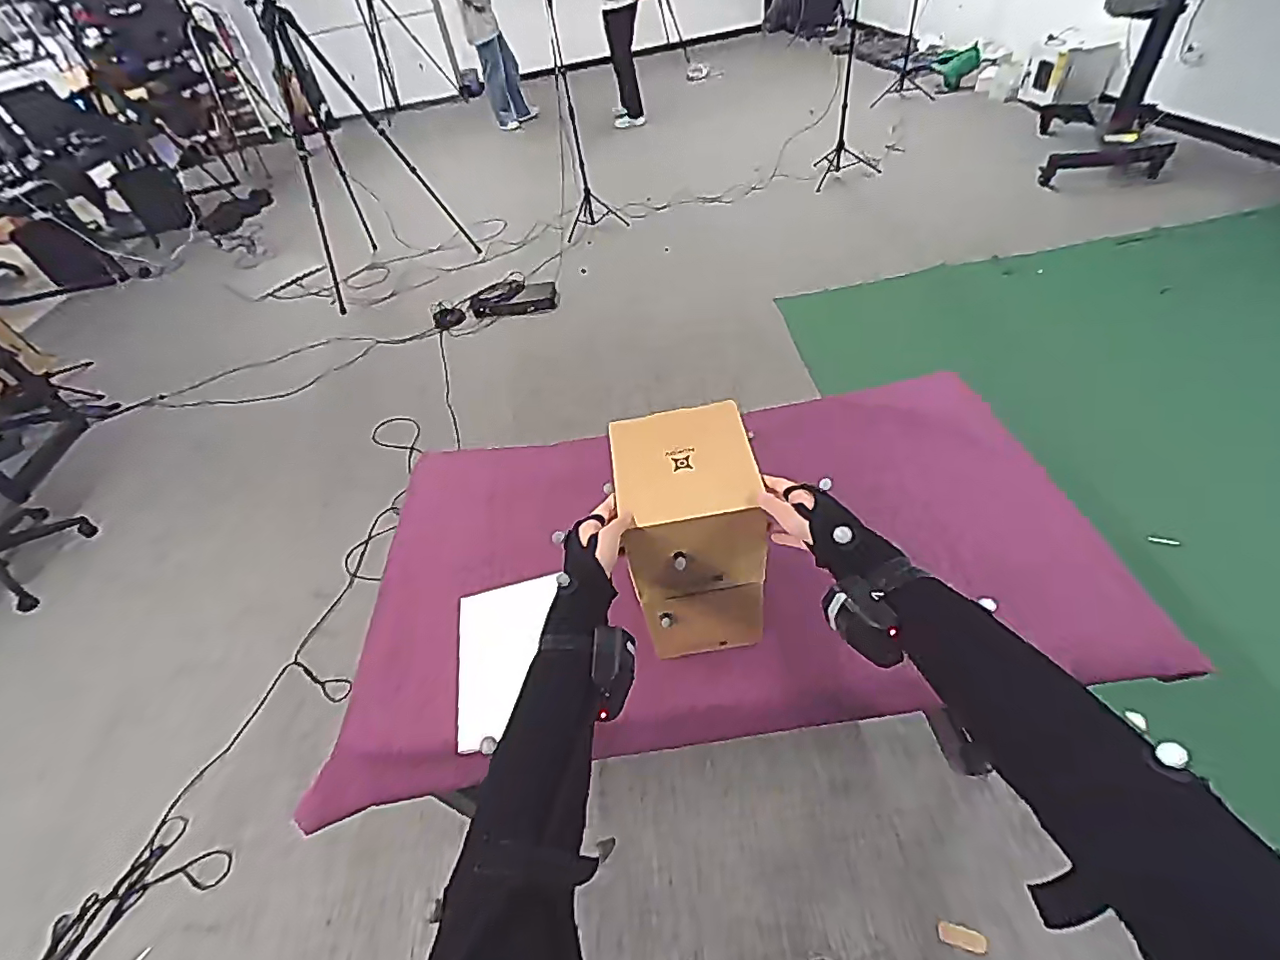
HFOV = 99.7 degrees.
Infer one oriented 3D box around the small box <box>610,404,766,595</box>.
[{"bbox_3d":[0.061,0.033,0.696,0.168,0.176,0.179,-10,48,2],"label":"small box"}]
